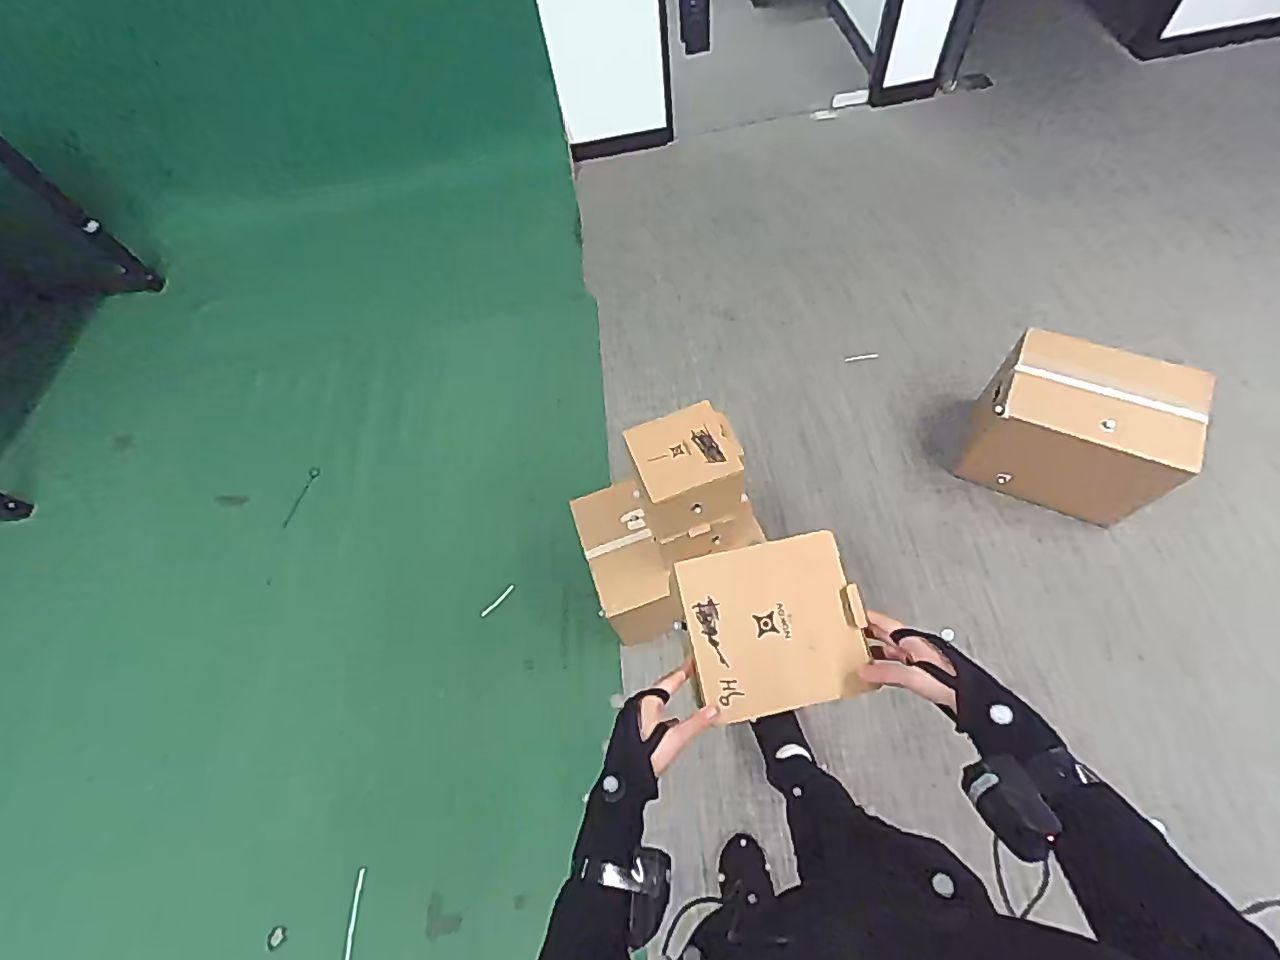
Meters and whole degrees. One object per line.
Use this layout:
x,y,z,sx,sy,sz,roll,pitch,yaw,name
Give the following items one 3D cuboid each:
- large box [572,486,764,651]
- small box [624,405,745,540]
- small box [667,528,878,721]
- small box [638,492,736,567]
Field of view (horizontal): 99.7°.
0.086,0.198,1.394,0.408,0.320,0.320,-21,59,-3,large box
0.084,-0.009,1.039,0.179,0.176,0.168,-20,60,-4,small box
0.134,0.164,0.624,0.179,0.176,0.168,-11,72,-3,small box
0.101,0.075,1.179,0.168,0.176,0.179,-19,60,-4,small box
